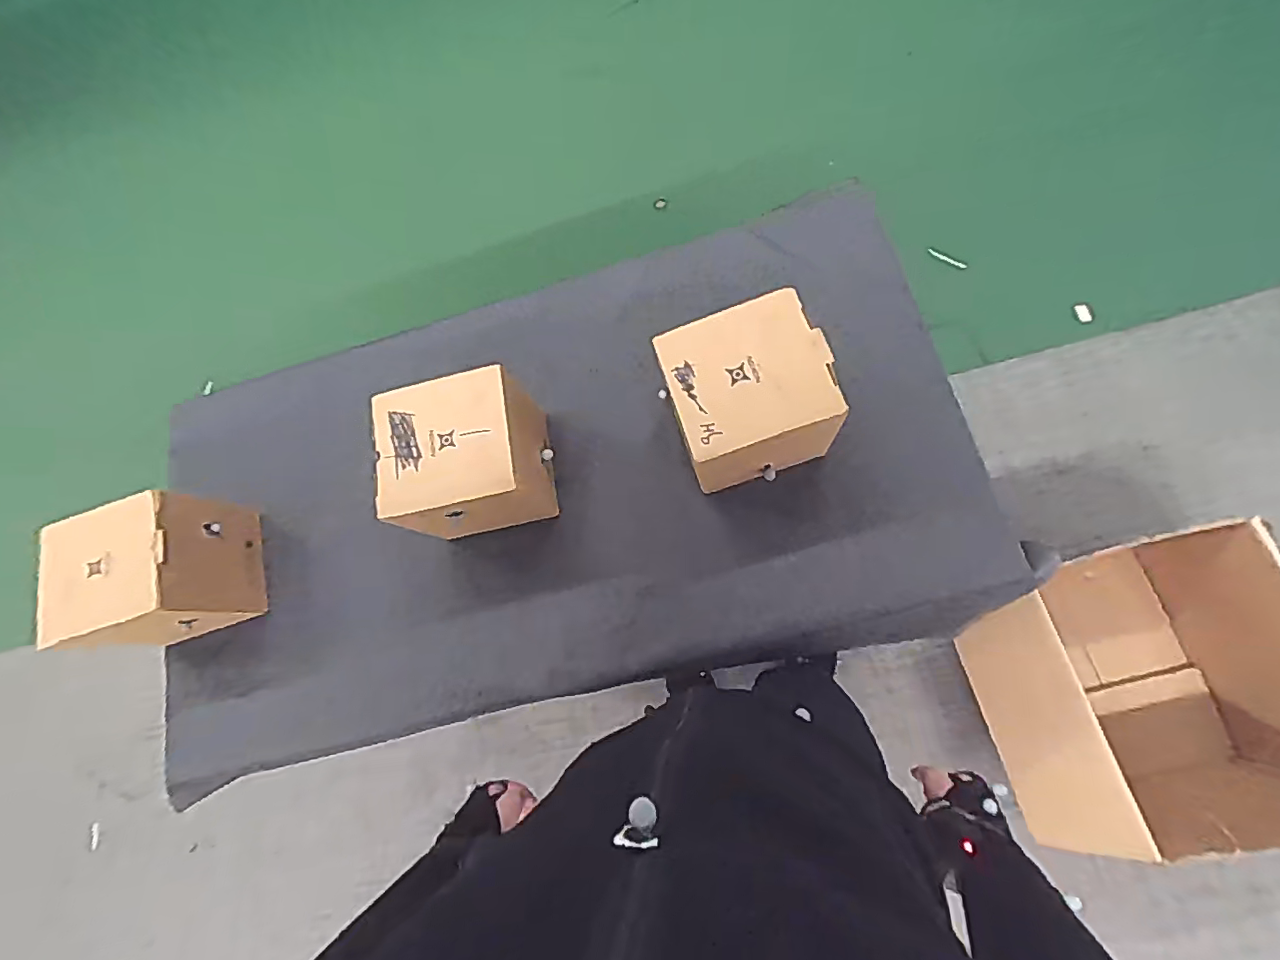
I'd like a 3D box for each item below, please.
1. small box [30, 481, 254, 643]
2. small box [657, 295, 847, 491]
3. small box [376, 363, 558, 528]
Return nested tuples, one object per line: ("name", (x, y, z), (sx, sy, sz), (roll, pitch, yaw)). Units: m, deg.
("small box", (-0.676, 0.119, 0.755), (0.179, 0.176, 0.168), (-19, 73, 6))
("small box", (0.137, -0.100, 0.702), (0.179, 0.176, 0.168), (-21, 75, 5))
("small box", (-0.225, -0.034, 0.728), (0.179, 0.176, 0.168), (-9, 77, 8))
